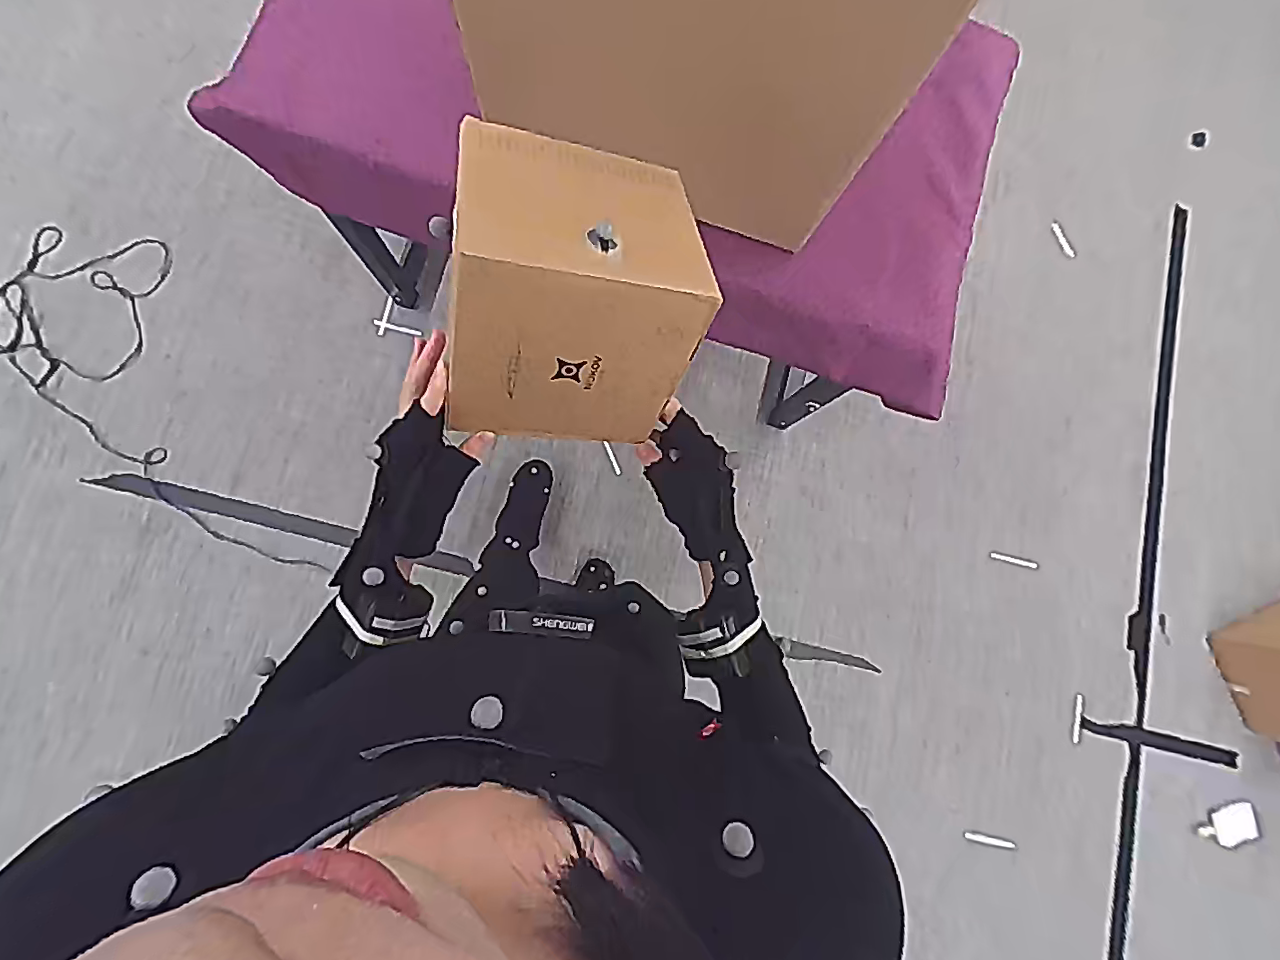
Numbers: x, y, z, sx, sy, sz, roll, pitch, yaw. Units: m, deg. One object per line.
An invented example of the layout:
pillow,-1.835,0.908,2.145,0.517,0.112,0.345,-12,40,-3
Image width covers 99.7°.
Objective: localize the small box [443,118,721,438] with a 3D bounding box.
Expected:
small box,-0.062,-0.153,0.436,0.179,0.168,0.176,3,56,-20
